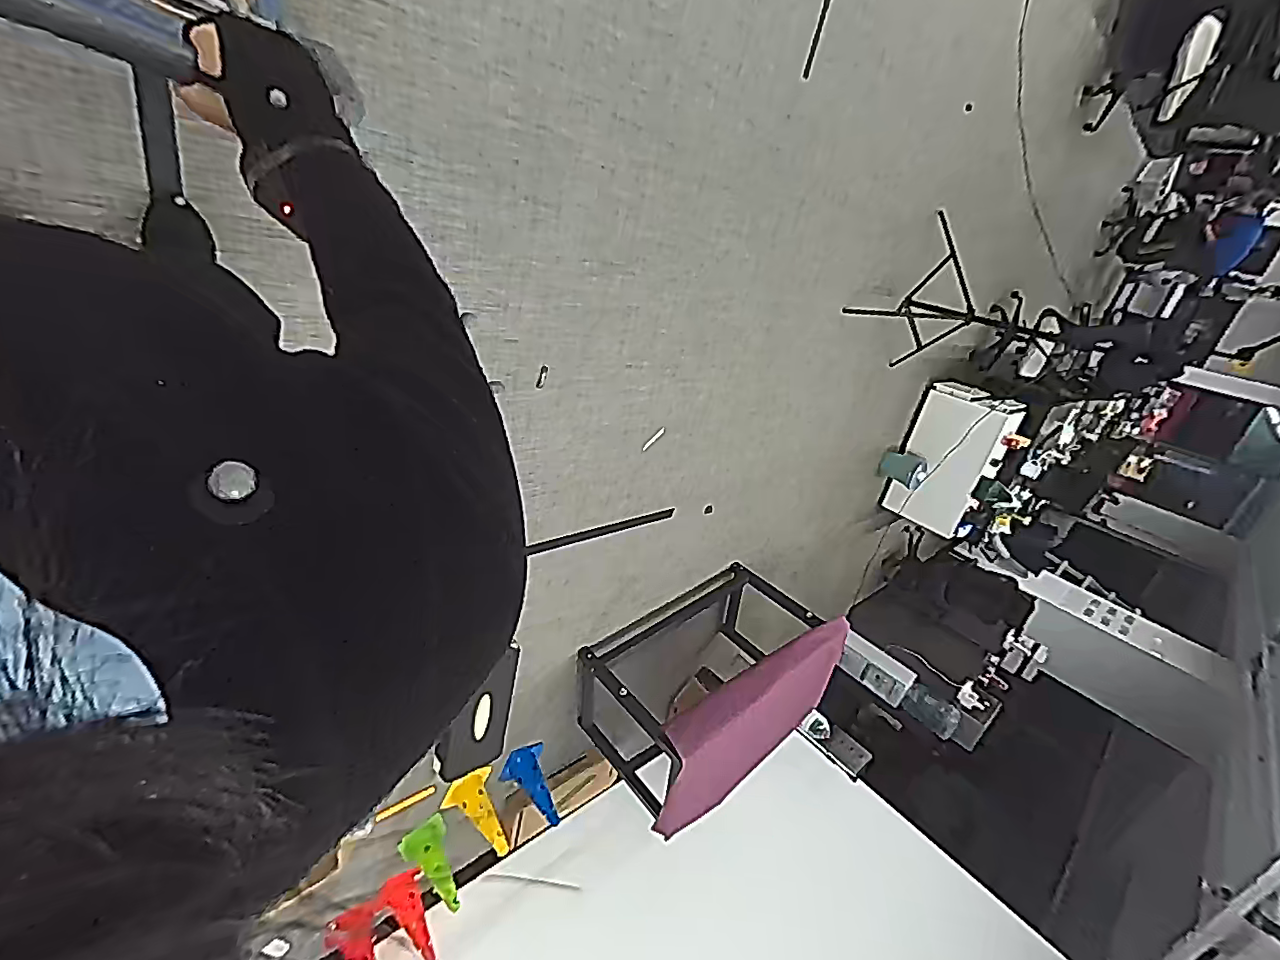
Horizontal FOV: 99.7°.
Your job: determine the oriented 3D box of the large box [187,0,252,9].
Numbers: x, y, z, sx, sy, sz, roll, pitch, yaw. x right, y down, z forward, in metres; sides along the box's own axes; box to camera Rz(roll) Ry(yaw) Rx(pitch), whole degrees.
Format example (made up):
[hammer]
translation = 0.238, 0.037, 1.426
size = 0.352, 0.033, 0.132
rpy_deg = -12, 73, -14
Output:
[large box]
translation = -0.697, -0.810, 0.597
size = 0.408, 0.320, 0.320
rpy_deg = -5, 125, -45
